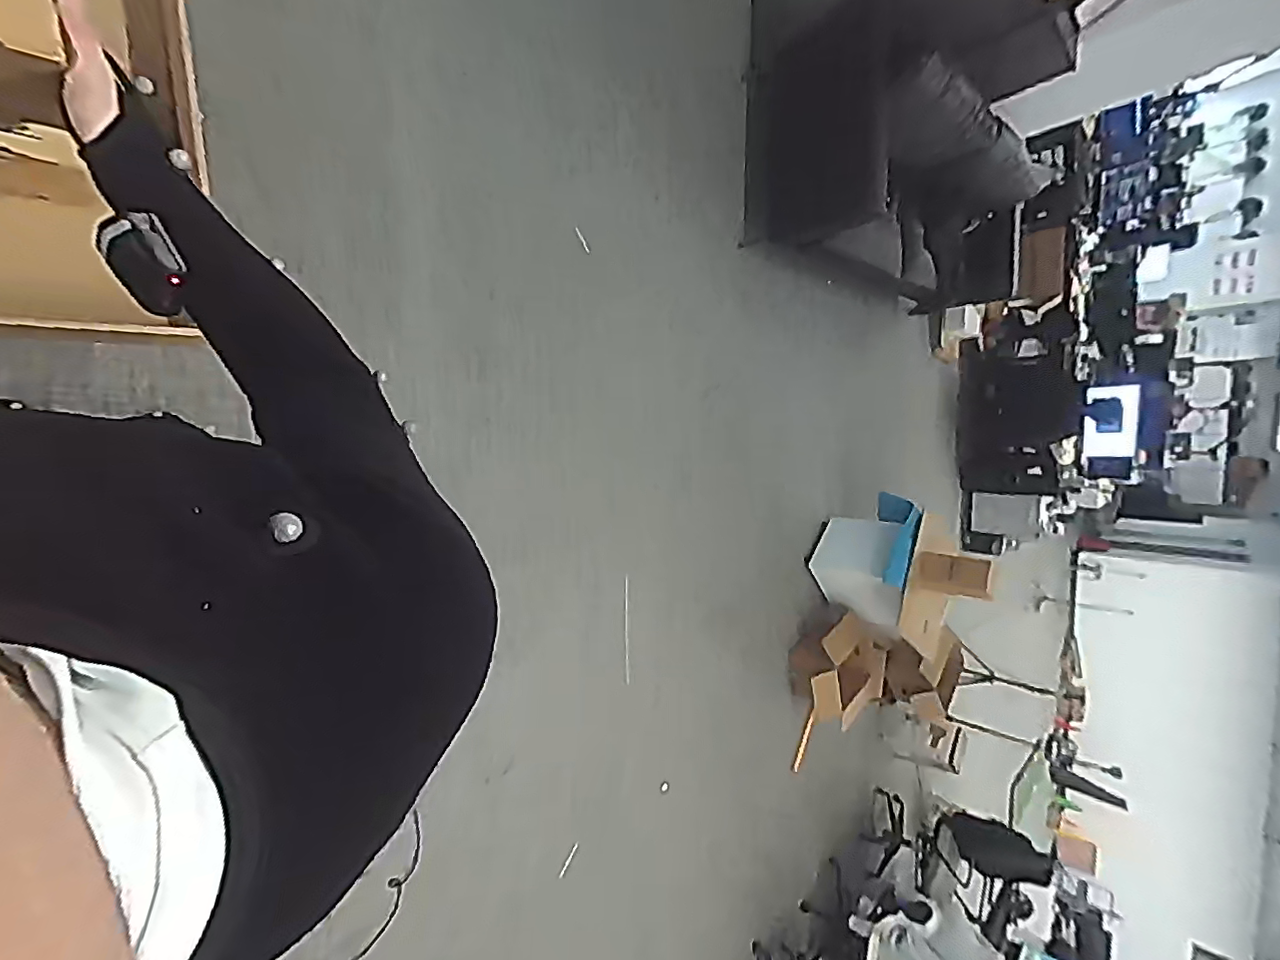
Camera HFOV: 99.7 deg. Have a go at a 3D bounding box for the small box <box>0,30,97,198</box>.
[{"bbox_3d":[-0.877,-0.520,0.745,0.168,0.176,0.179,-7,96,-43],"label":"small box"}]

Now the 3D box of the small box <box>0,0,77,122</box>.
[{"bbox_3d":[-0.522,-0.391,0.374,0.168,0.176,0.179,-10,105,-43],"label":"small box"}]
